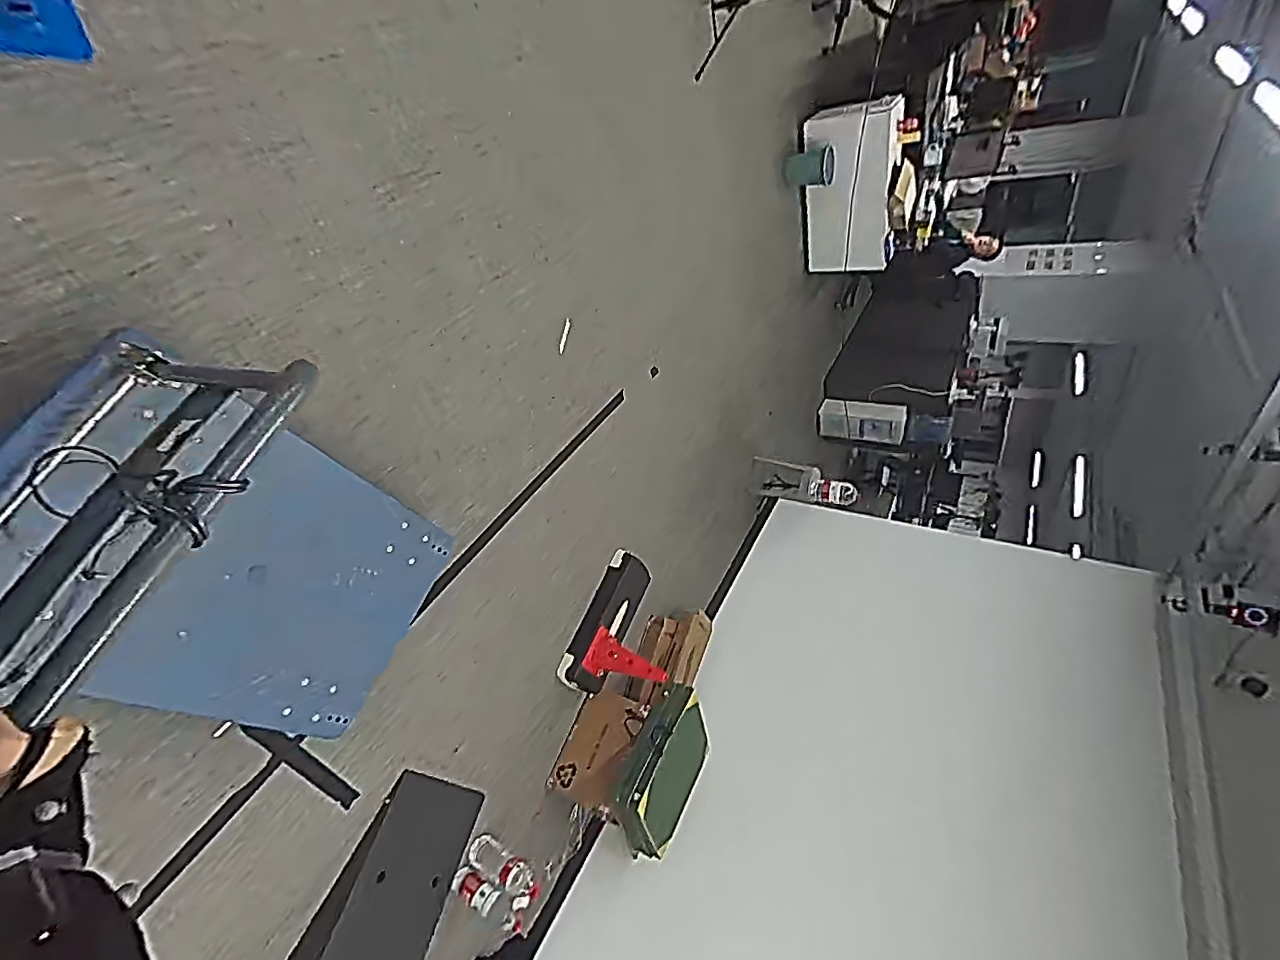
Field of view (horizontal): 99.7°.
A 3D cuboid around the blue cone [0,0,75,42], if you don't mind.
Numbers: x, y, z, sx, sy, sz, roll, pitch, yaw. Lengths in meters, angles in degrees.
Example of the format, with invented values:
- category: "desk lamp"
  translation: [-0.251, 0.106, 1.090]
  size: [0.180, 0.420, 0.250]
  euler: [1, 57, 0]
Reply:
- category: "blue cone"
  translation: [-0.864, -0.757, 0.724]
  size: [0.193, 0.380, 0.192]
  euler: [-36, 129, -48]
